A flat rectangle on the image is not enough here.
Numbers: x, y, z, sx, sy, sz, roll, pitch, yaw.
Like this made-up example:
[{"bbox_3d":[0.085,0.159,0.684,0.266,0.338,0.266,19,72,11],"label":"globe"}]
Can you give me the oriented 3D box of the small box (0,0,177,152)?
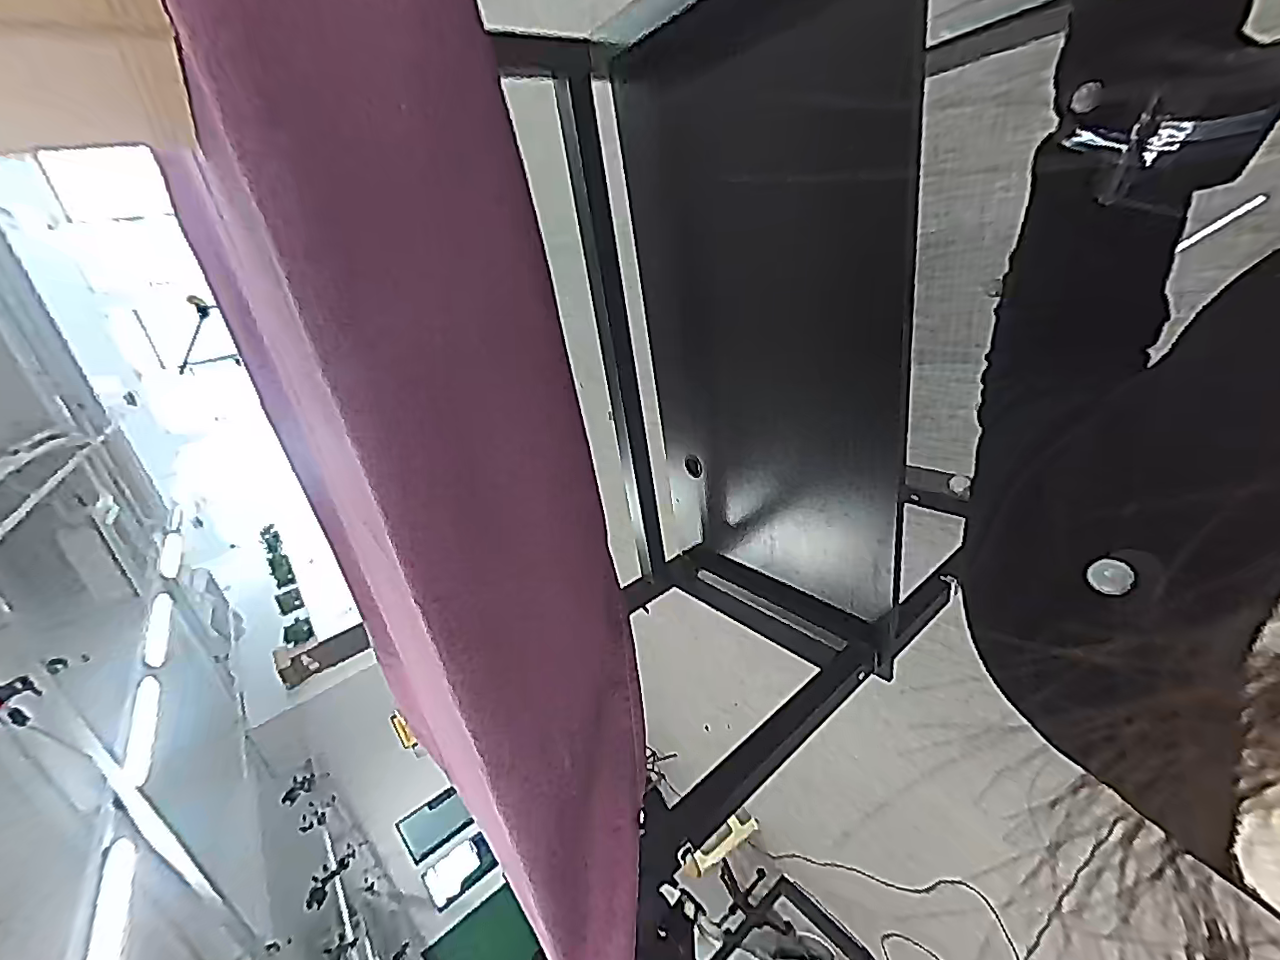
[{"bbox_3d":[-0.404,-0.304,0.309,0.179,0.176,0.168,11,121,54],"label":"small box"}]
